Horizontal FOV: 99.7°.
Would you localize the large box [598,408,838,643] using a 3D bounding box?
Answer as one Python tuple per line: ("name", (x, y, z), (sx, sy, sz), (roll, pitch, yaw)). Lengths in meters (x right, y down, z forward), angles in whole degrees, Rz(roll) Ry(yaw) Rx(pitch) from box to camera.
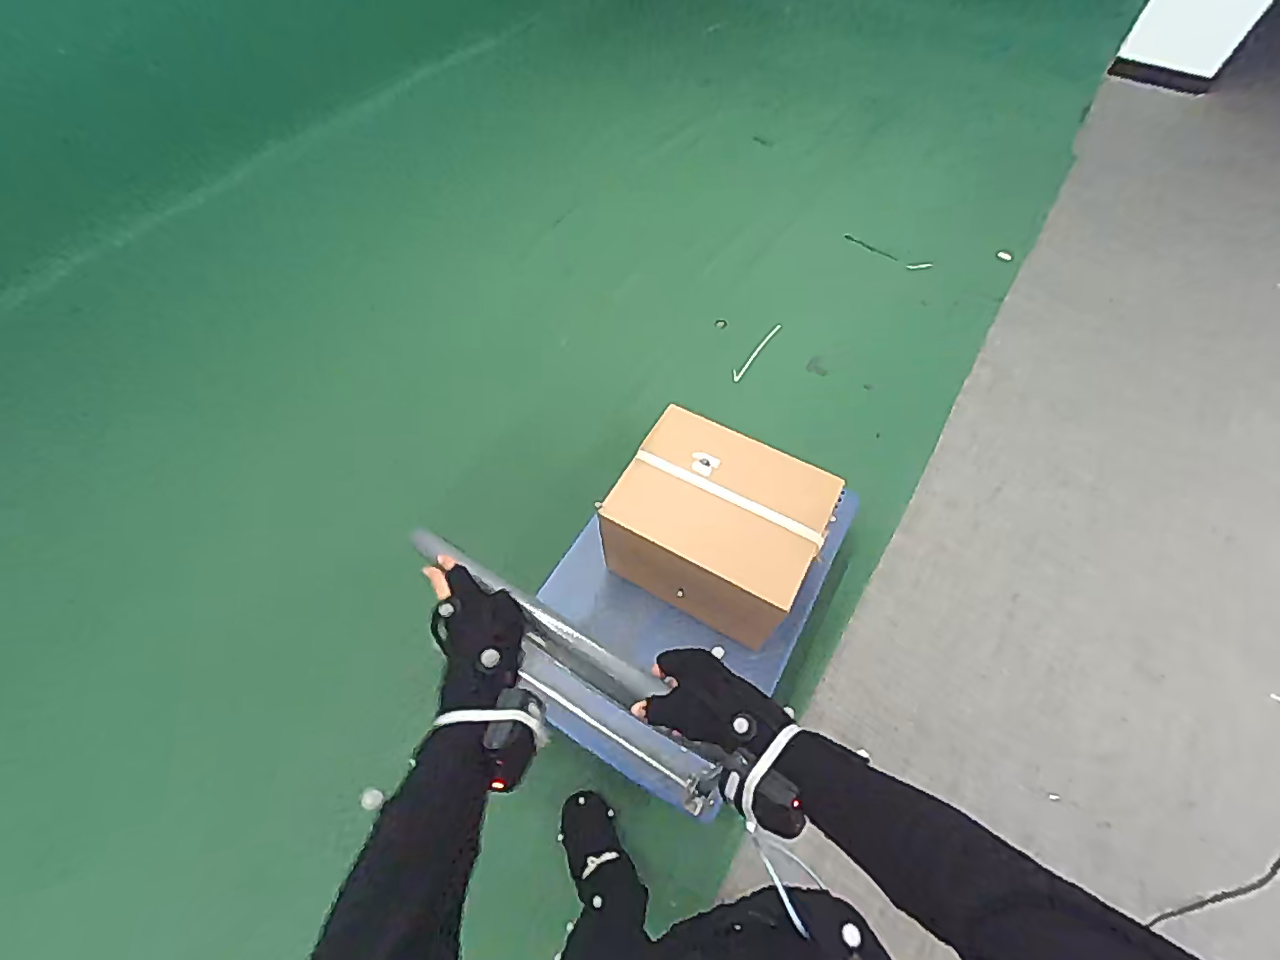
("large box", (0.167, 0.109, 1.216), (0.408, 0.320, 0.320), (26, 63, 15))
